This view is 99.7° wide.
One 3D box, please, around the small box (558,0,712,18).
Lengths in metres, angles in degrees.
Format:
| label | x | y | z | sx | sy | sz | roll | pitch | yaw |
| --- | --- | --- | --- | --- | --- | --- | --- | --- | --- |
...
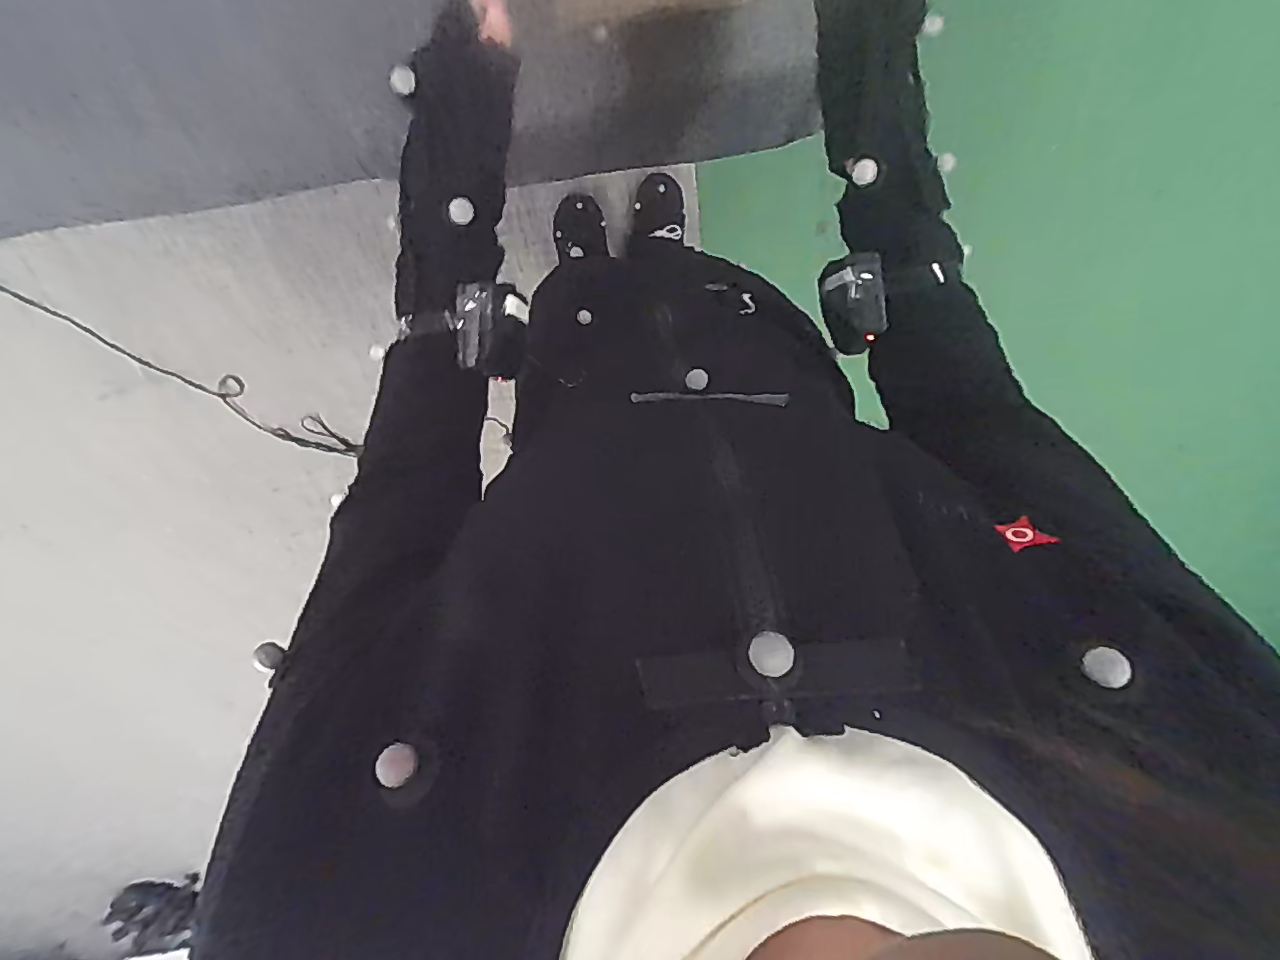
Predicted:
| label | x | y | z | sx | sy | sz | roll | pitch | yaw |
| --- | --- | --- | --- | --- | --- | --- | --- | --- | --- |
| small box | 0.007 | -0.434 | 0.353 | 0.168 | 0.176 | 0.179 | -10 | 121 | 0 |
